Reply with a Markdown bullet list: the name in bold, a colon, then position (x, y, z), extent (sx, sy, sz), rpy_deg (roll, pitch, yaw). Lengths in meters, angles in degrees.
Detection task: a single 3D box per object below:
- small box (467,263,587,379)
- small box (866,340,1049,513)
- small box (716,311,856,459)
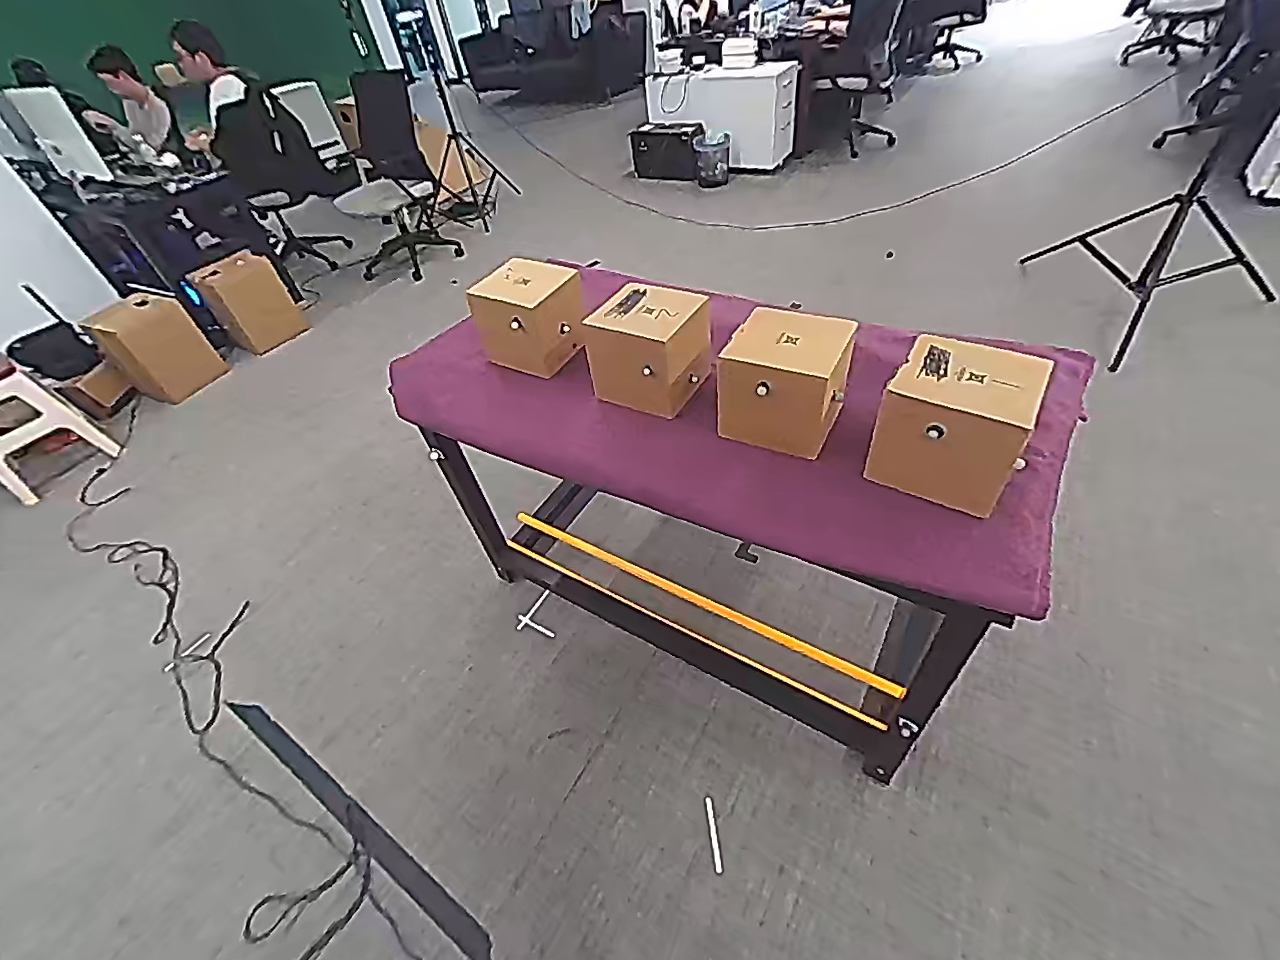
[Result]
- **small box**: position (-0.233, -0.341, 1.168), extent (0.179, 0.176, 0.168), rpy_deg (19, 51, 23)
- **small box**: position (0.453, -0.078, 0.793), extent (0.179, 0.176, 0.168), rpy_deg (23, 52, 28)
- **small box**: position (0.244, -0.159, 0.915), extent (0.179, 0.176, 0.168), rpy_deg (17, 51, 26)
